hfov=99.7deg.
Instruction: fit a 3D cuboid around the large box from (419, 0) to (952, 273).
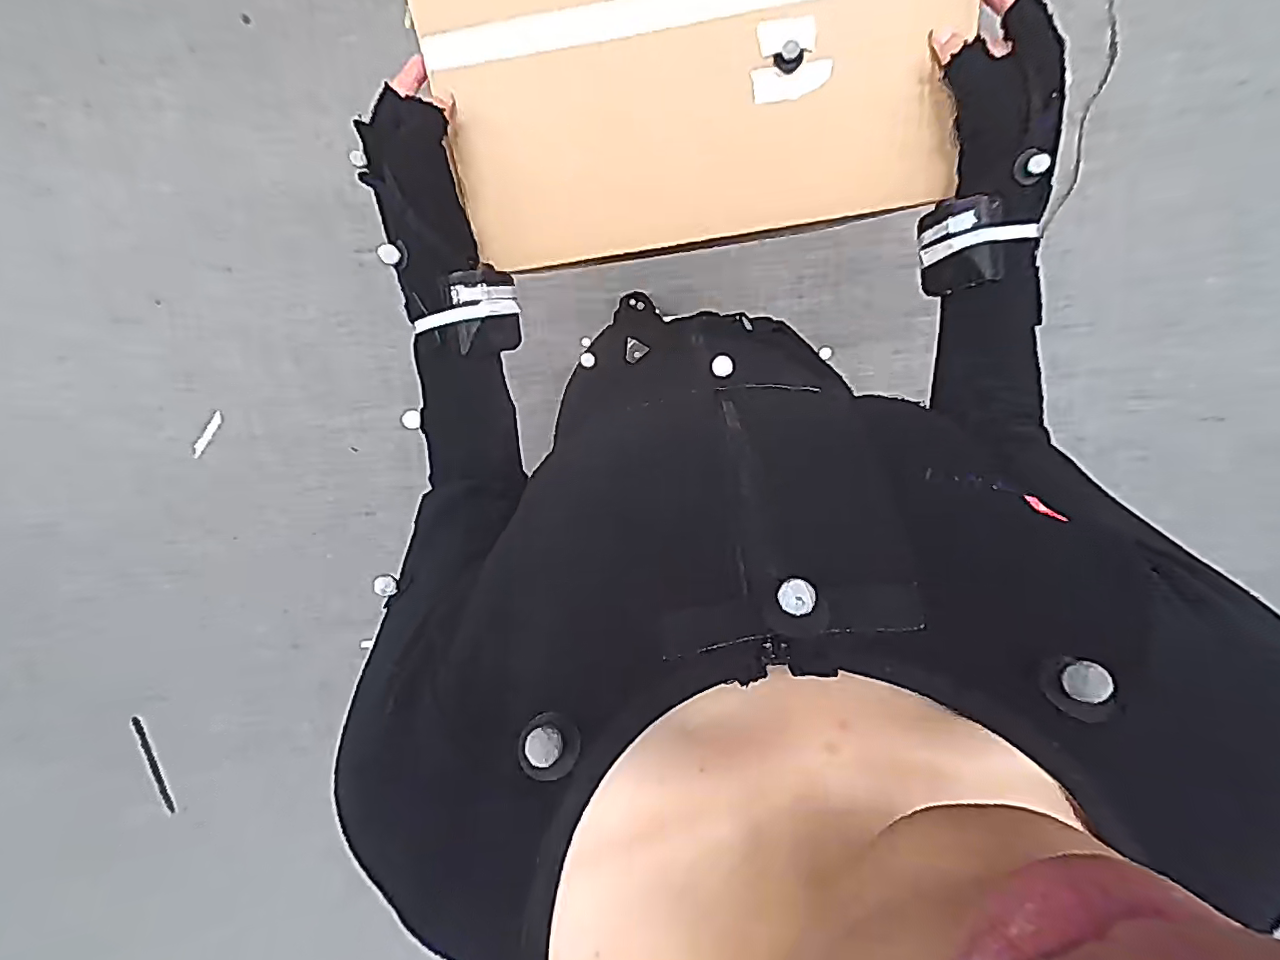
[{"bbox_3d":[0.034,-0.406,0.548,0.408,0.320,0.320,-8,111,3],"label":"large box"}]
